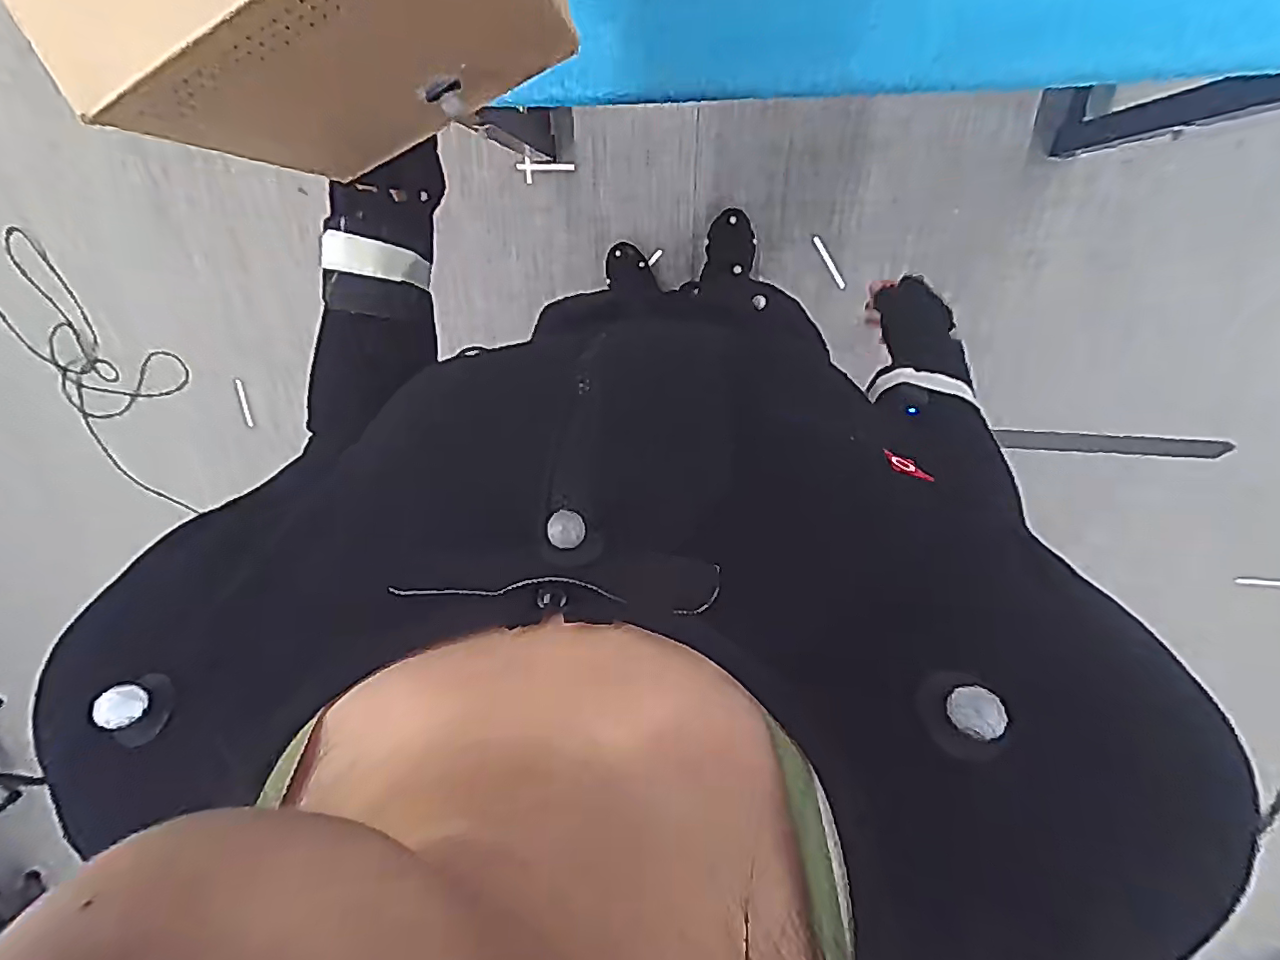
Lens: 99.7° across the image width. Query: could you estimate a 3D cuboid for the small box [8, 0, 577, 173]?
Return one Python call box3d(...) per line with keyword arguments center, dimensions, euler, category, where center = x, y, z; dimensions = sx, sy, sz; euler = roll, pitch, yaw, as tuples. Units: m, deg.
box3d(center=(-0.154, -0.264, 0.232), dimensions=(0.179, 0.176, 0.168), euler=(-19, 108, 14), category="small box")
